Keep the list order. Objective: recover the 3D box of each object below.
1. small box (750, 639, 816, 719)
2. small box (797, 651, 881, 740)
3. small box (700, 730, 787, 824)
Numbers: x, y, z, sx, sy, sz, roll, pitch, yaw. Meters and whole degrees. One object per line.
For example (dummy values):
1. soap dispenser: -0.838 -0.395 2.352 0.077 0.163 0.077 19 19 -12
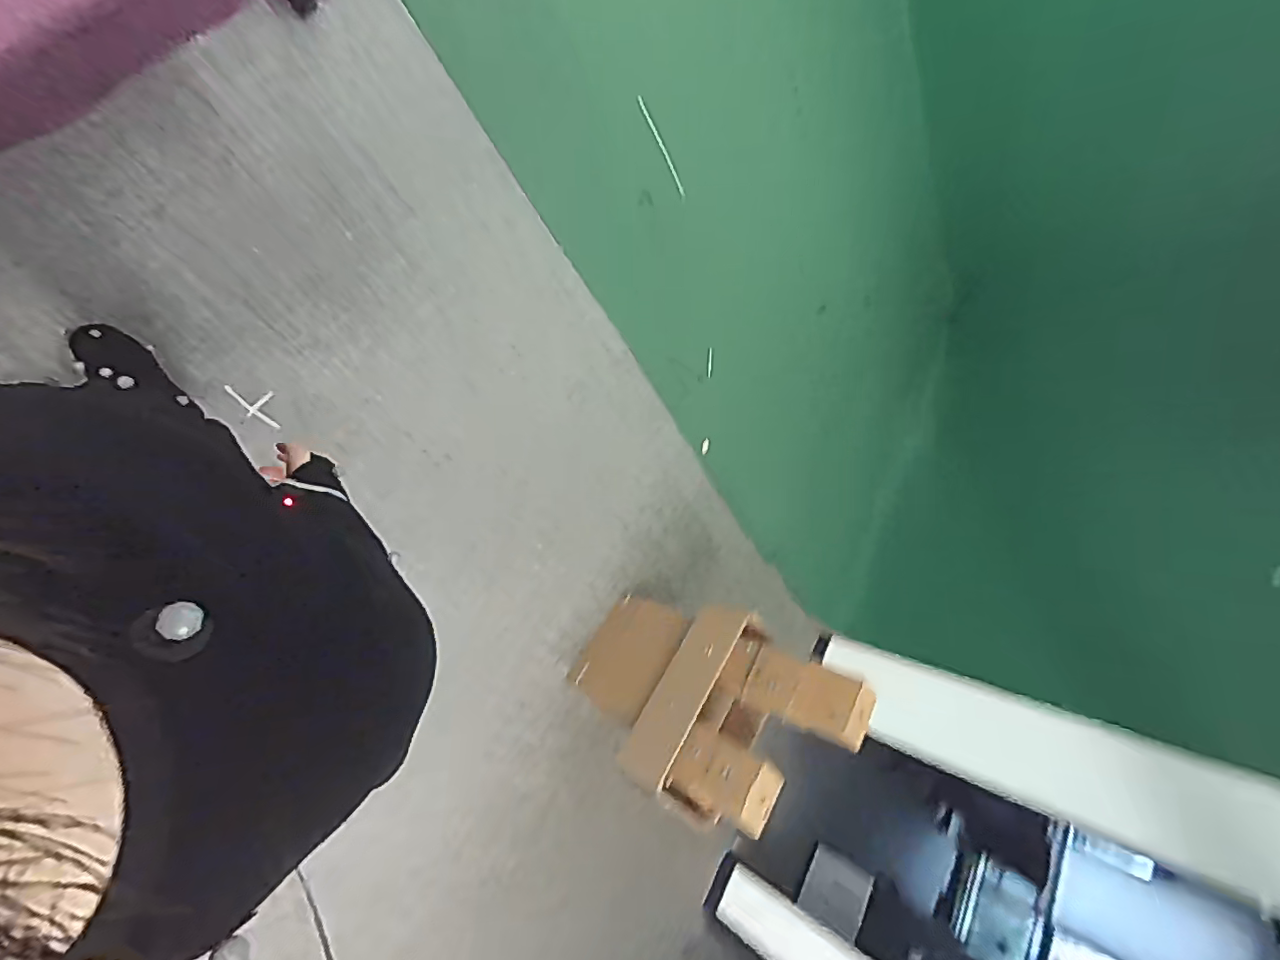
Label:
1. small box: 0.480 0.635 1.744 0.179 0.176 0.168 49 65 -39
2. small box: 0.600 0.646 1.635 0.168 0.176 0.179 47 67 -39
3. small box: 0.307 0.880 1.619 0.168 0.176 0.179 -52 129 -23
